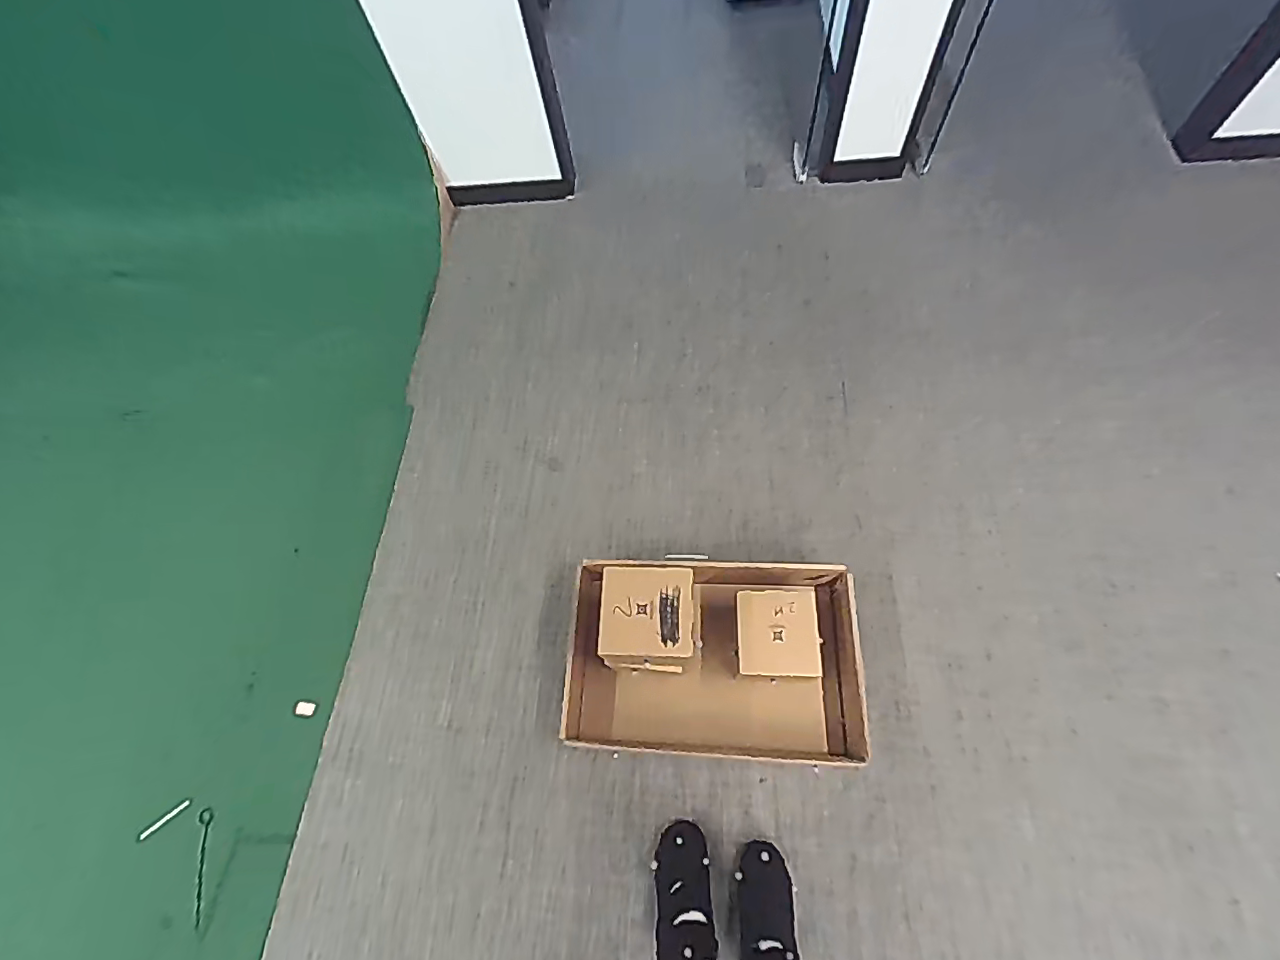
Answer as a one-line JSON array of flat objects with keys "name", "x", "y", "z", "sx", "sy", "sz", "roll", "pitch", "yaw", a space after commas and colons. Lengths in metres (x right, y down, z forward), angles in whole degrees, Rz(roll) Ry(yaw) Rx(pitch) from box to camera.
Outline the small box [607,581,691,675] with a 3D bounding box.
[{"name": "small box", "x": 0.028, "y": 0.341, "z": 1.232, "sx": 0.168, "sy": 0.176, "sz": 0.179, "roll": 4, "pitch": 66, "yaw": 7}]

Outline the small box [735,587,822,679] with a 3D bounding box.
[{"name": "small box", "x": 0.300, "y": 0.343, "z": 1.197, "sx": 0.168, "sy": 0.176, "sz": 0.179, "roll": 0, "pitch": 66, "yaw": 7}]
